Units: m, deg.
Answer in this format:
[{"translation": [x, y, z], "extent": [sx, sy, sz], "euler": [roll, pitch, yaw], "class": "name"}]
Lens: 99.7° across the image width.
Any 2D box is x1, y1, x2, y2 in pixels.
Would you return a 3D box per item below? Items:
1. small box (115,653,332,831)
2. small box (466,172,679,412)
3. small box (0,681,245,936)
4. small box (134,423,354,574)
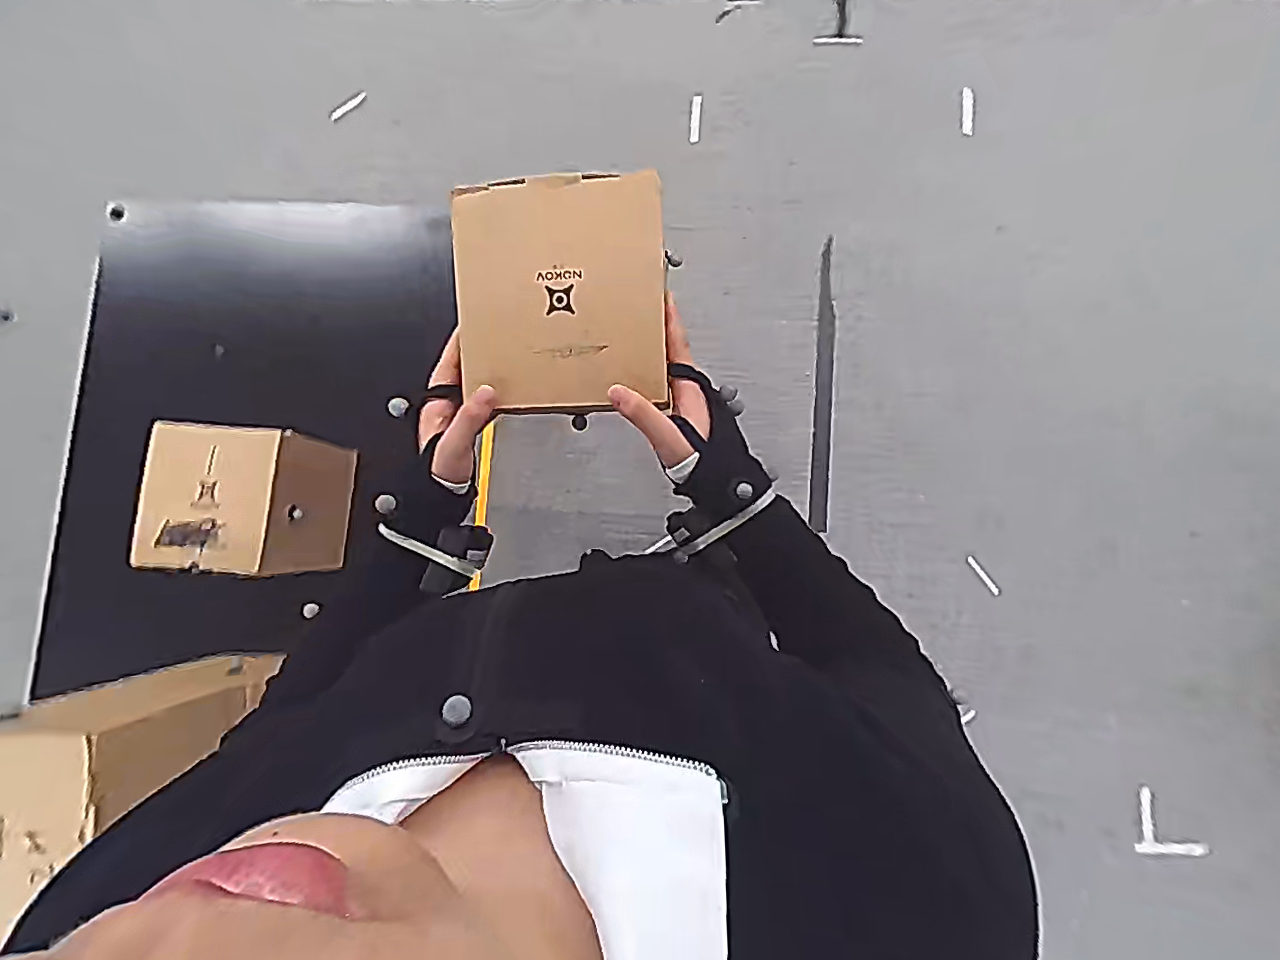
[{"translation": [-0.532, 0.326, 0.703], "extent": [0.179, 0.176, 0.168], "euler": [-2, 84, 2], "class": "small box"}, {"translation": [-0.049, -0.155, 0.502], "extent": [0.168, 0.176, 0.179], "euler": [0, 96, 5], "class": "small box"}, {"translation": [-0.545, 0.307, 0.539], "extent": [0.179, 0.176, 0.168], "euler": [-3, 84, 3], "class": "small box"}, {"translation": [-0.520, 0.029, 0.737], "extent": [0.168, 0.176, 0.179], "euler": [4, 83, 3], "class": "small box"}]
